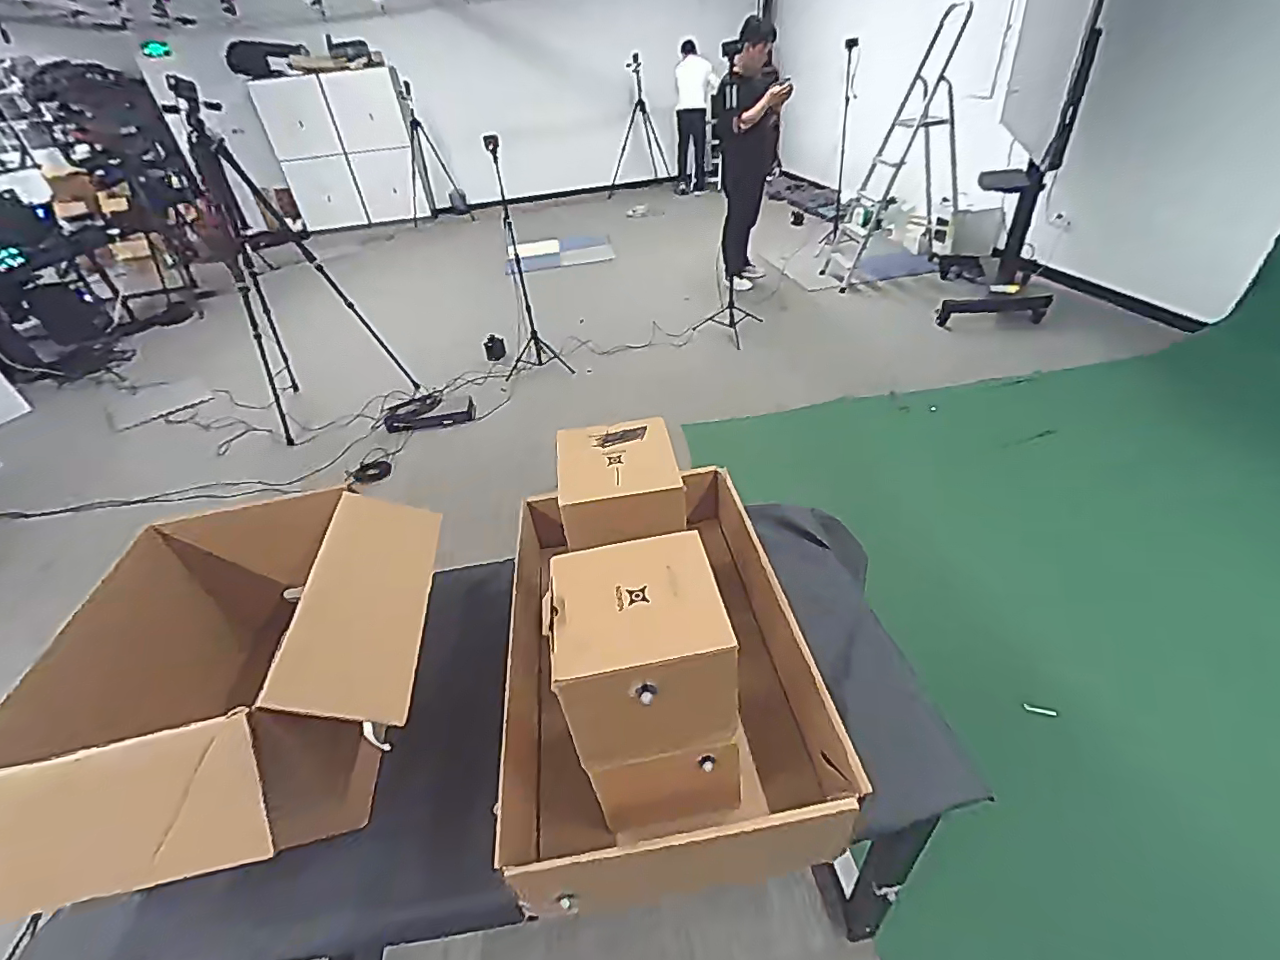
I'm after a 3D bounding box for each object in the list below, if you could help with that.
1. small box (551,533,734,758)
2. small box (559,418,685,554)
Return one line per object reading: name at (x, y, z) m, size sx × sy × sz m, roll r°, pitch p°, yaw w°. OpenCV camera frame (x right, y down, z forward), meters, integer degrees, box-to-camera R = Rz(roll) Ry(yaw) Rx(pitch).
small box at (0.002, 0.188, 0.613) m, size 0.179 × 0.176 × 0.168 m, roll -9°, pitch 38°, yaw -4°
small box at (-0.027, 0.031, 0.812) m, size 0.168 × 0.176 × 0.179 m, roll -8°, pitch 40°, yaw -2°
